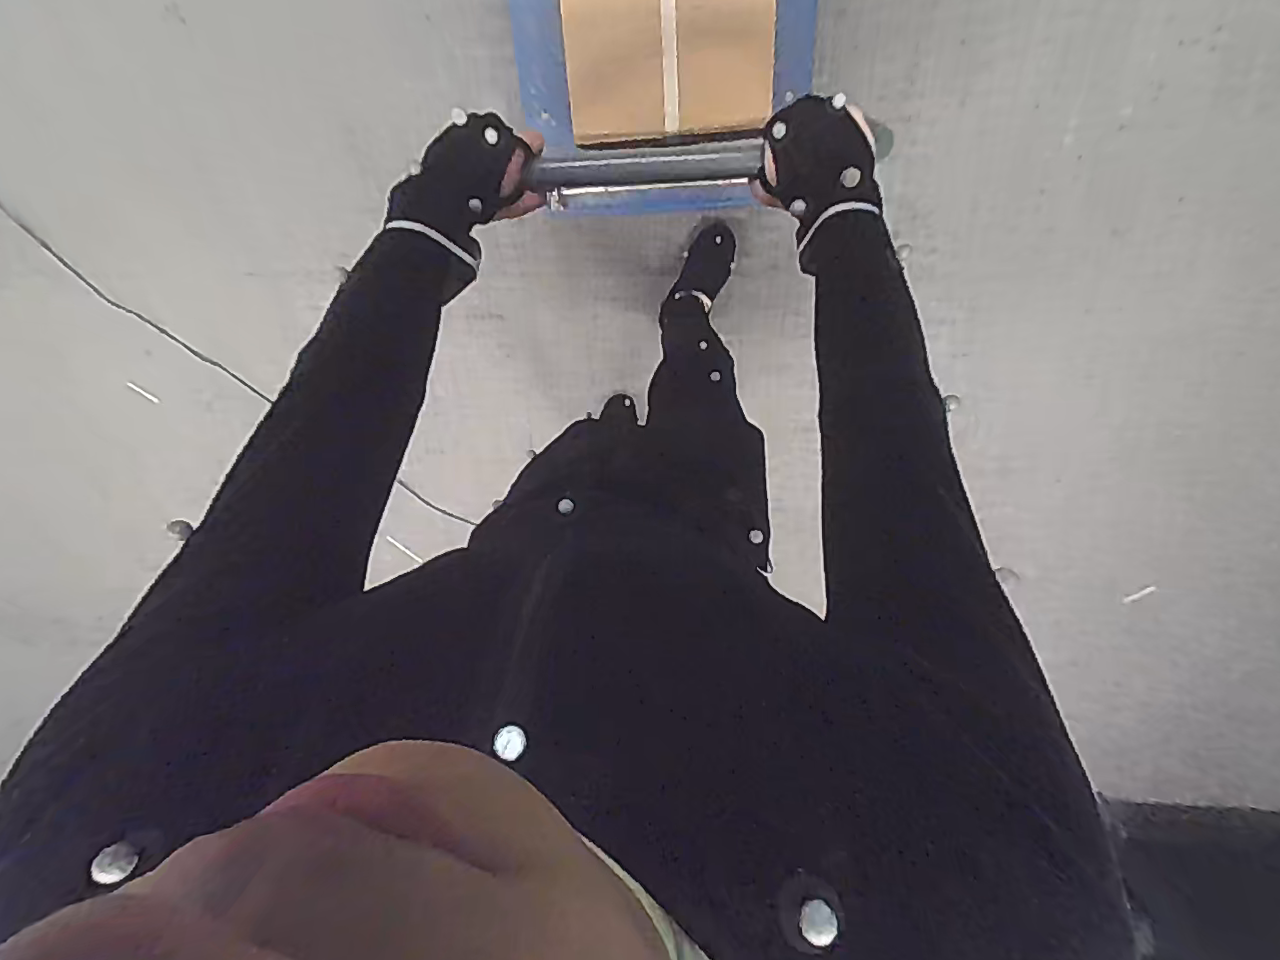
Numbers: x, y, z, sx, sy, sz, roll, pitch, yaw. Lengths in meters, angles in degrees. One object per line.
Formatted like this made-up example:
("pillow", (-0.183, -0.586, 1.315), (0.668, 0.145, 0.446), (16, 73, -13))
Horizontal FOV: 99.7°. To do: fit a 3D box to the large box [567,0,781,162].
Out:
("large box", (0.058, -0.789, 0.903), (0.320, 0.320, 0.408), (-1, 116, 6))
